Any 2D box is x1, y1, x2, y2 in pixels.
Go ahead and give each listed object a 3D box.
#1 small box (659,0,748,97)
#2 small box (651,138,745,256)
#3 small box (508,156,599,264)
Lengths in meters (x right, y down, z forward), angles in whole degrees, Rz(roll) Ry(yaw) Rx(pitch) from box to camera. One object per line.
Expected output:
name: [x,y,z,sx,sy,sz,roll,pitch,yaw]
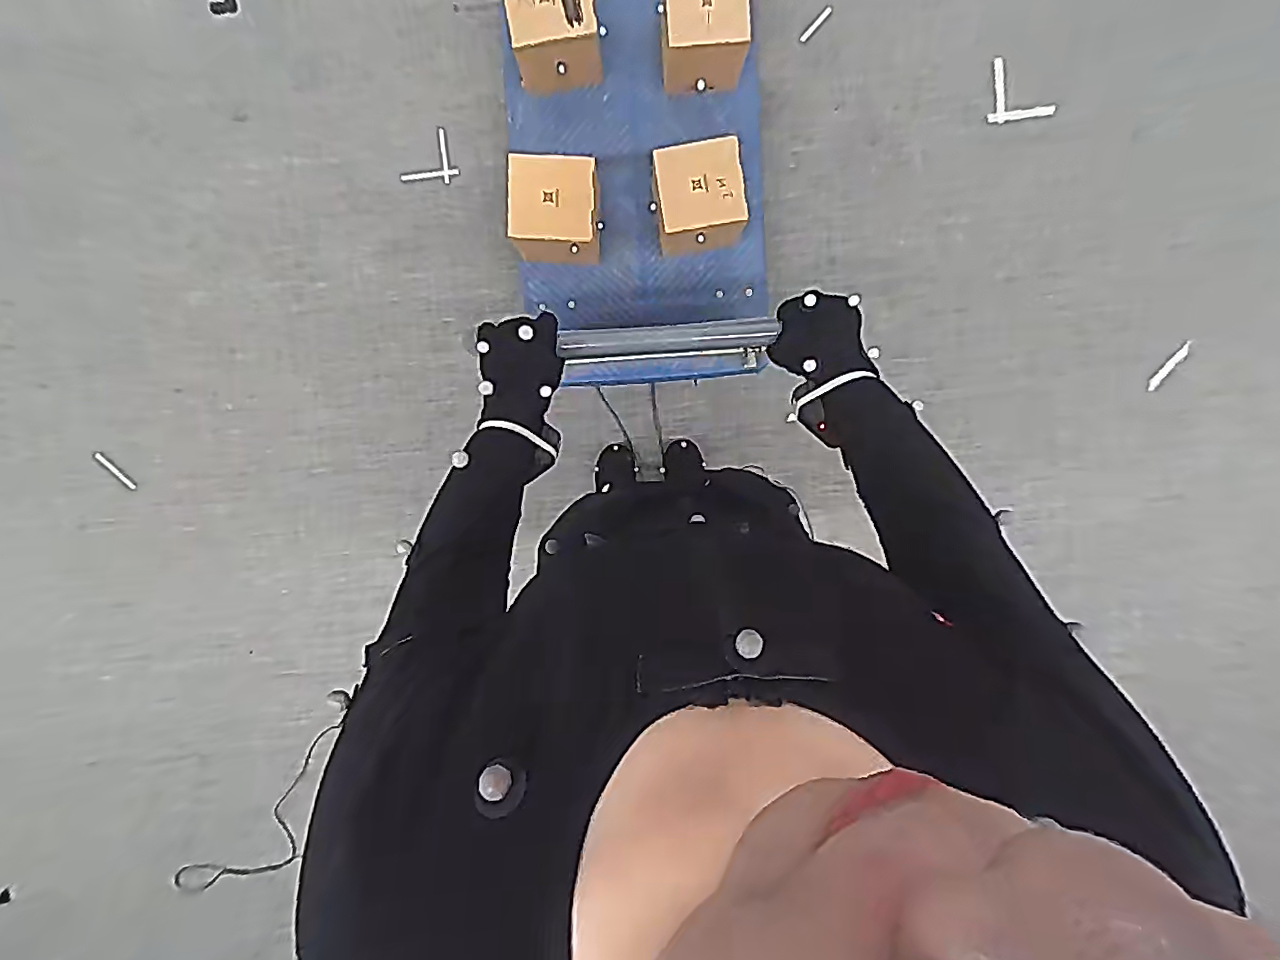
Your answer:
small box: [0.129,-0.959,1.150,0.168,0.176,0.179,-4,97,1]
small box: [0.121,-0.608,1.184,0.179,0.176,0.168,-9,96,1]
small box: [-0.184,-0.584,1.189,0.179,0.176,0.168,1,95,-1]
